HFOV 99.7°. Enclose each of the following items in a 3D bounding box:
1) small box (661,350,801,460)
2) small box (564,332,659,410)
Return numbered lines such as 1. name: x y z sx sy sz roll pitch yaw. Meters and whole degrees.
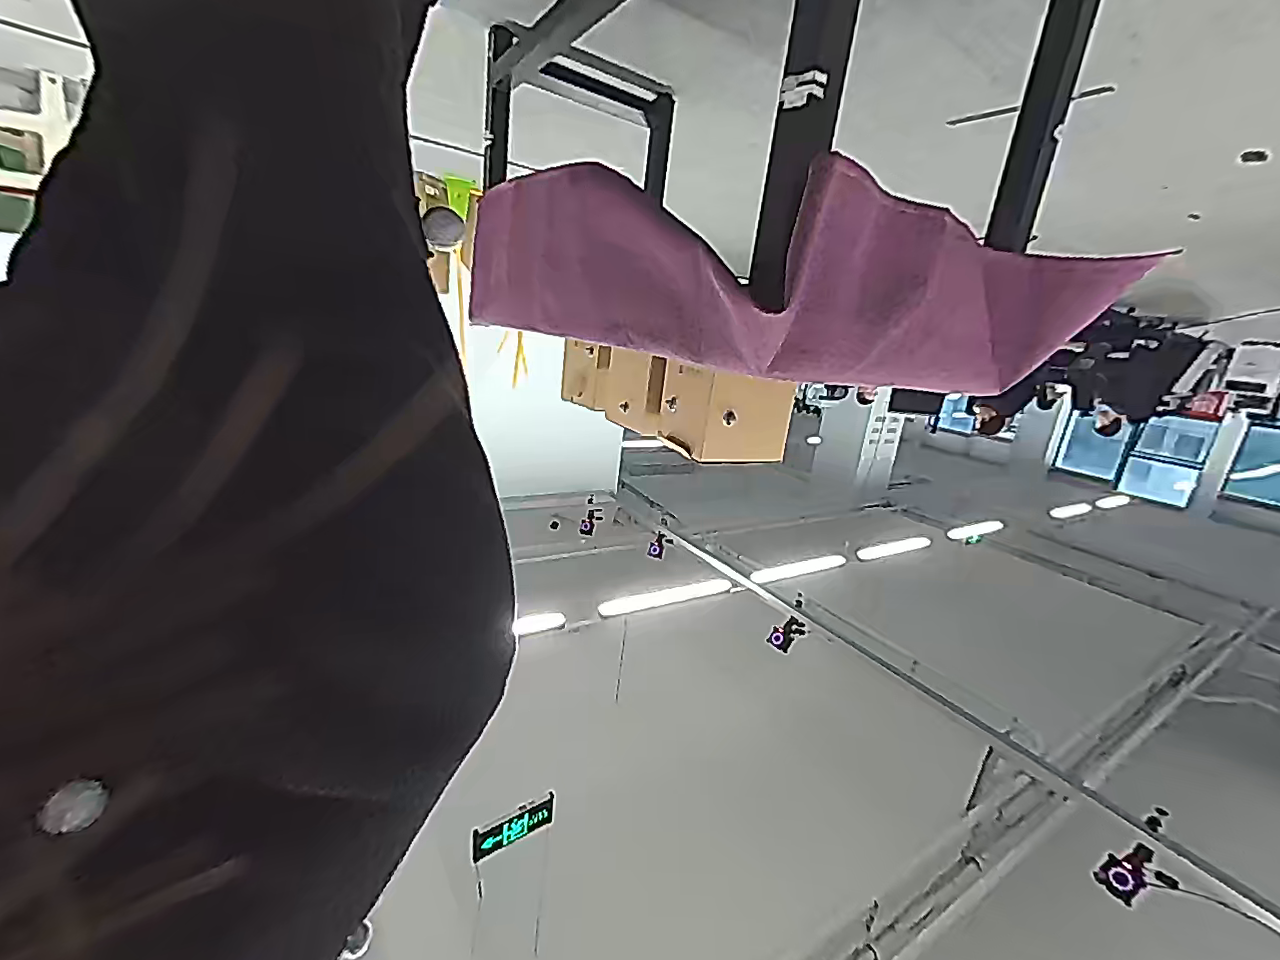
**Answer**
1. small box: 0.158 -0.138 0.969 0.179 0.176 0.168 -2 -161 -26
2. small box: -0.072 -0.276 1.357 0.179 0.176 0.168 -5 -159 -35
